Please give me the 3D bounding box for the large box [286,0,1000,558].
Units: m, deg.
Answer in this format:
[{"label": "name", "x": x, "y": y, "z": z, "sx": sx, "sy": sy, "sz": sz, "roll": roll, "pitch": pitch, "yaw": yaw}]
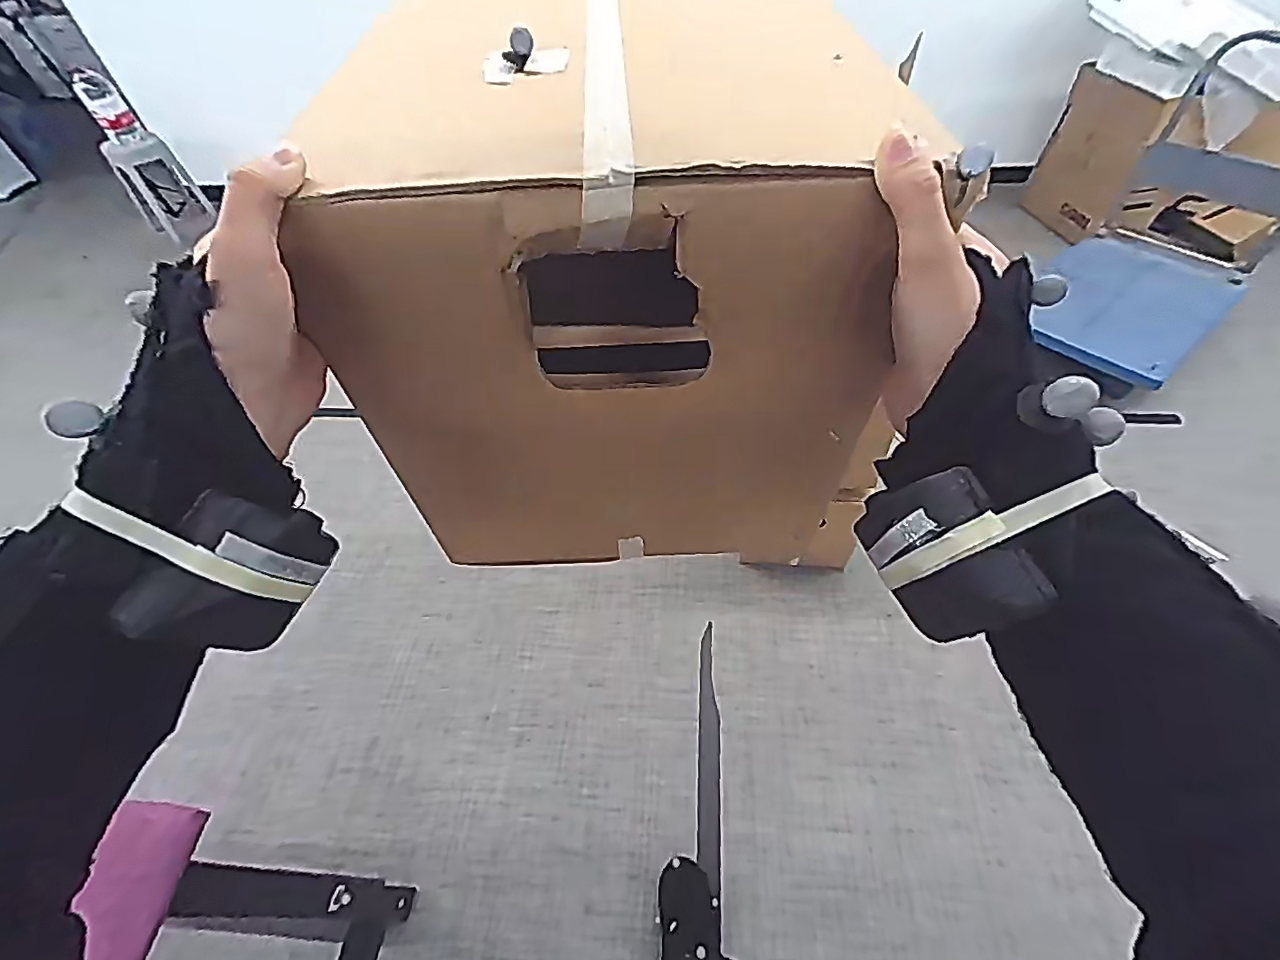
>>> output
[{"label": "large box", "x": -0.009, "y": -0.186, "z": 0.462, "sx": 0.320, "sy": 0.320, "sz": 0.408, "roll": -4, "pitch": 54, "yaw": 0}]
